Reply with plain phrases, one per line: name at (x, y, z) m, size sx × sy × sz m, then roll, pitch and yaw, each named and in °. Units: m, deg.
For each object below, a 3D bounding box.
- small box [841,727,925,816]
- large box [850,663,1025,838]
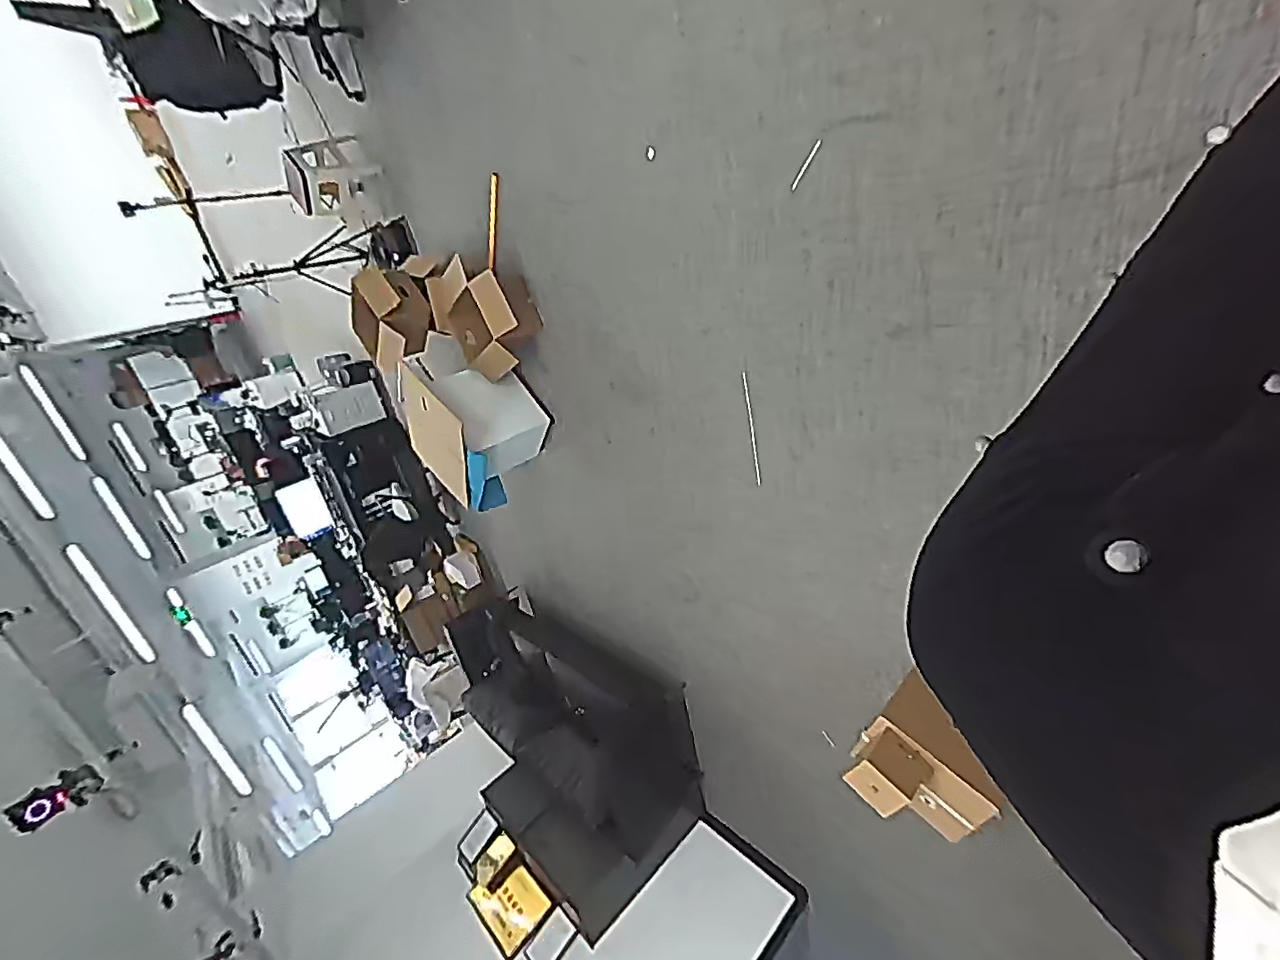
small box at (0.813, 0.968, 1.801) m, size 0.168 × 0.176 × 0.179 m, roll 41°, pitch 138°, yaw 25°
large box at (1.045, 0.945, 1.925) m, size 0.408 × 0.320 × 0.320 m, roll 35°, pitch 138°, yaw 29°
